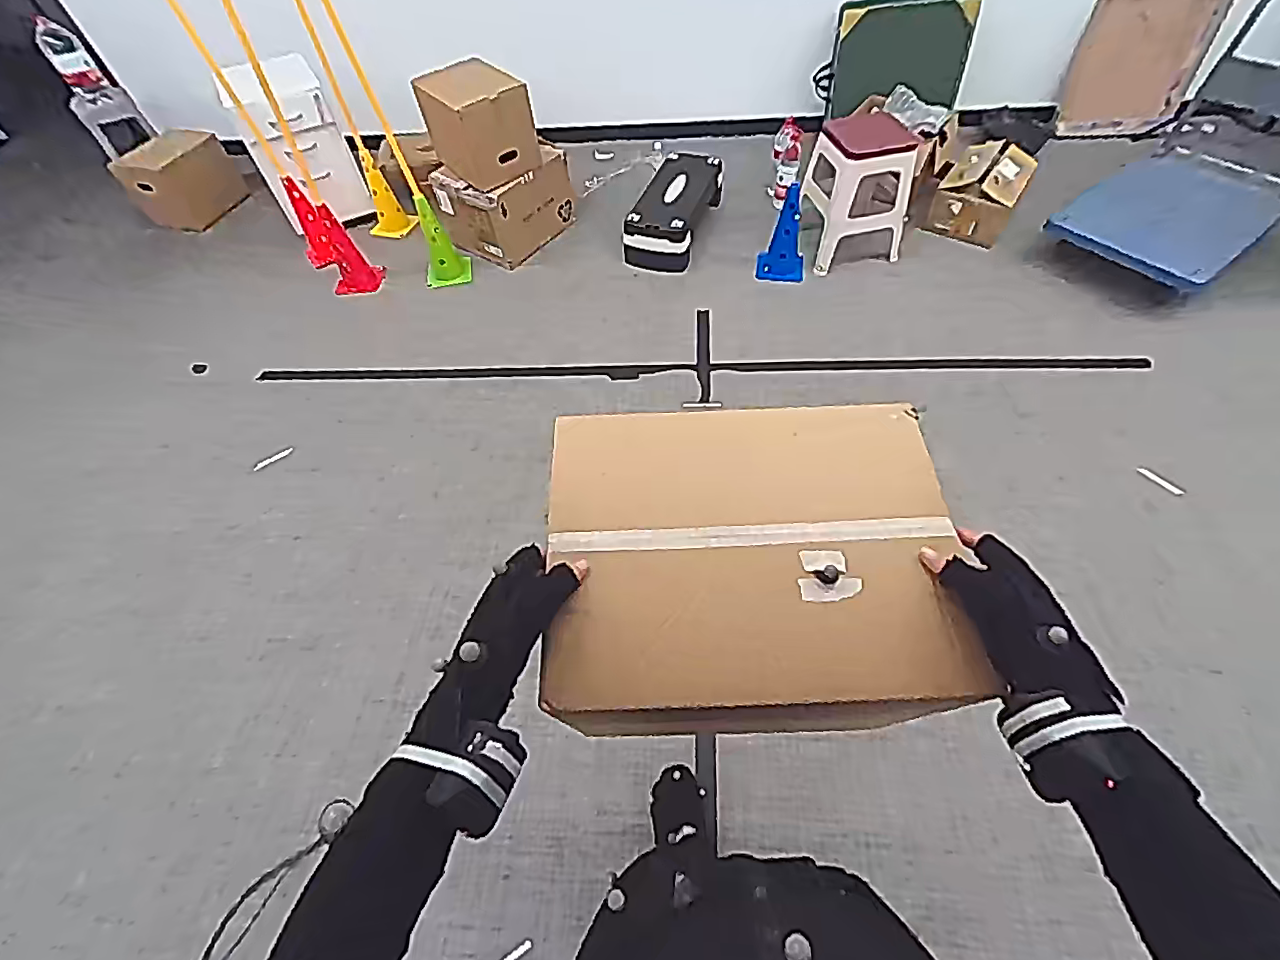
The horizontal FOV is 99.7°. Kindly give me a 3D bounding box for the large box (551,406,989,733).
[{"bbox_3d":[0.111,0.129,0.684,0.408,0.320,0.320,-2,61,0],"label":"large box"}]
